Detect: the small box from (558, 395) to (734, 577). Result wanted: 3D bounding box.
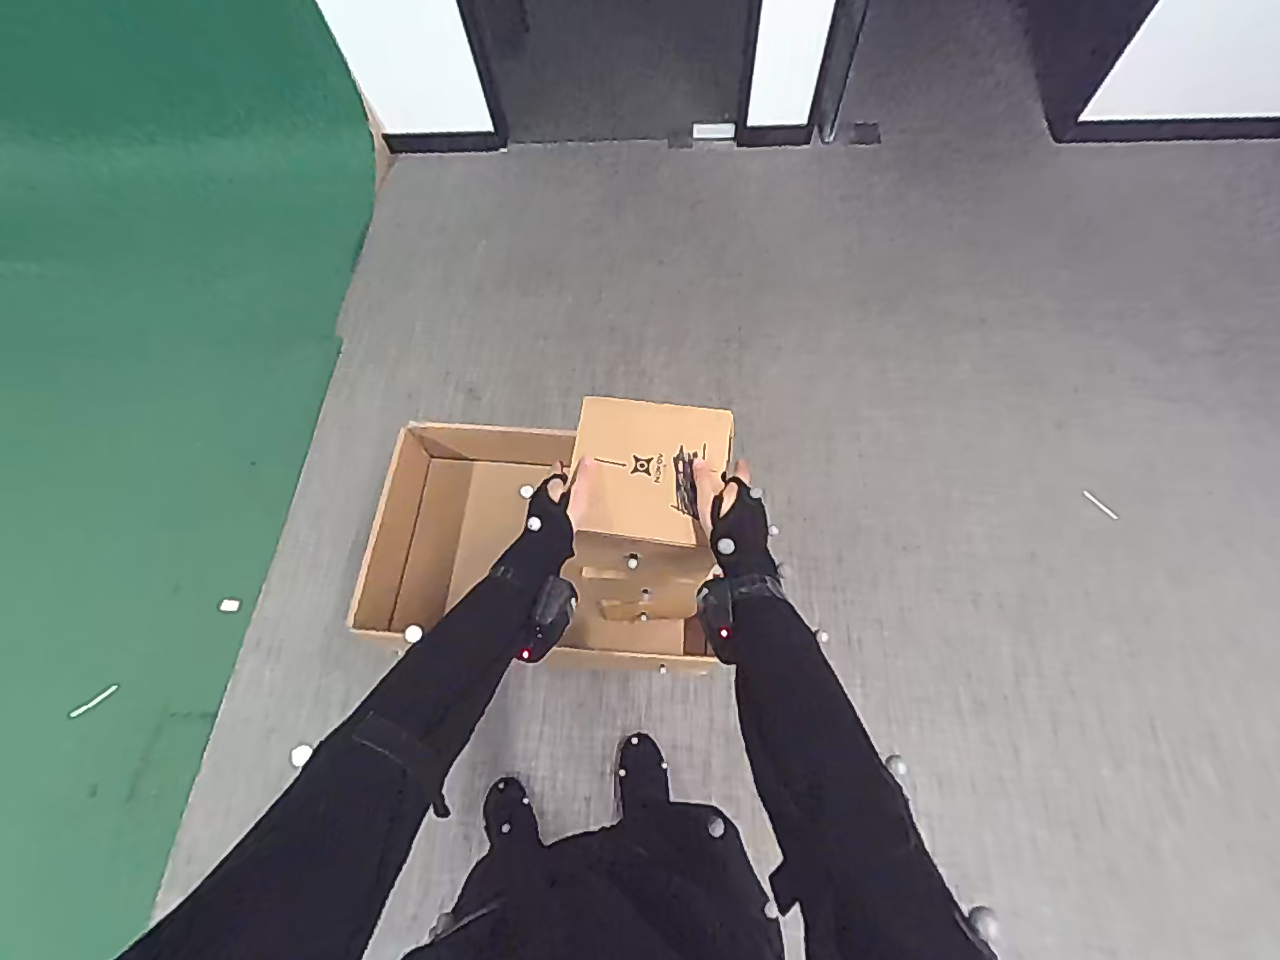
[{"bbox_3d":[0.011,0.017,0.665,0.179,0.176,0.168,7,68,4],"label":"small box"}]
